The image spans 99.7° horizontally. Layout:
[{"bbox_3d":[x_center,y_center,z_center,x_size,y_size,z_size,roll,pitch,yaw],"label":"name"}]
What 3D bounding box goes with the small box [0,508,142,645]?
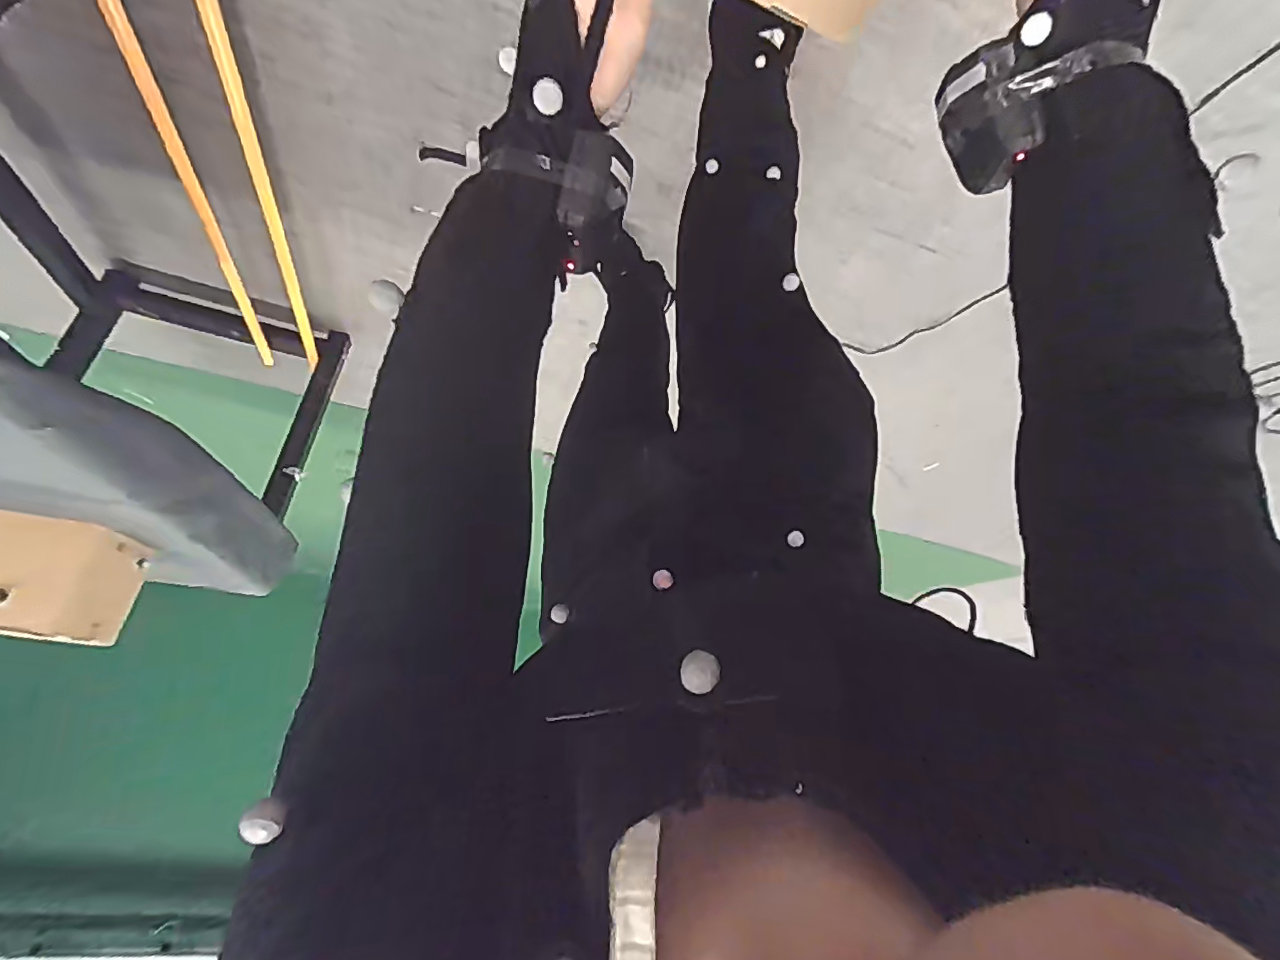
[{"bbox_3d":[-0.930,0.151,0.835,0.179,0.176,0.168,13,155,-12],"label":"small box"}]
